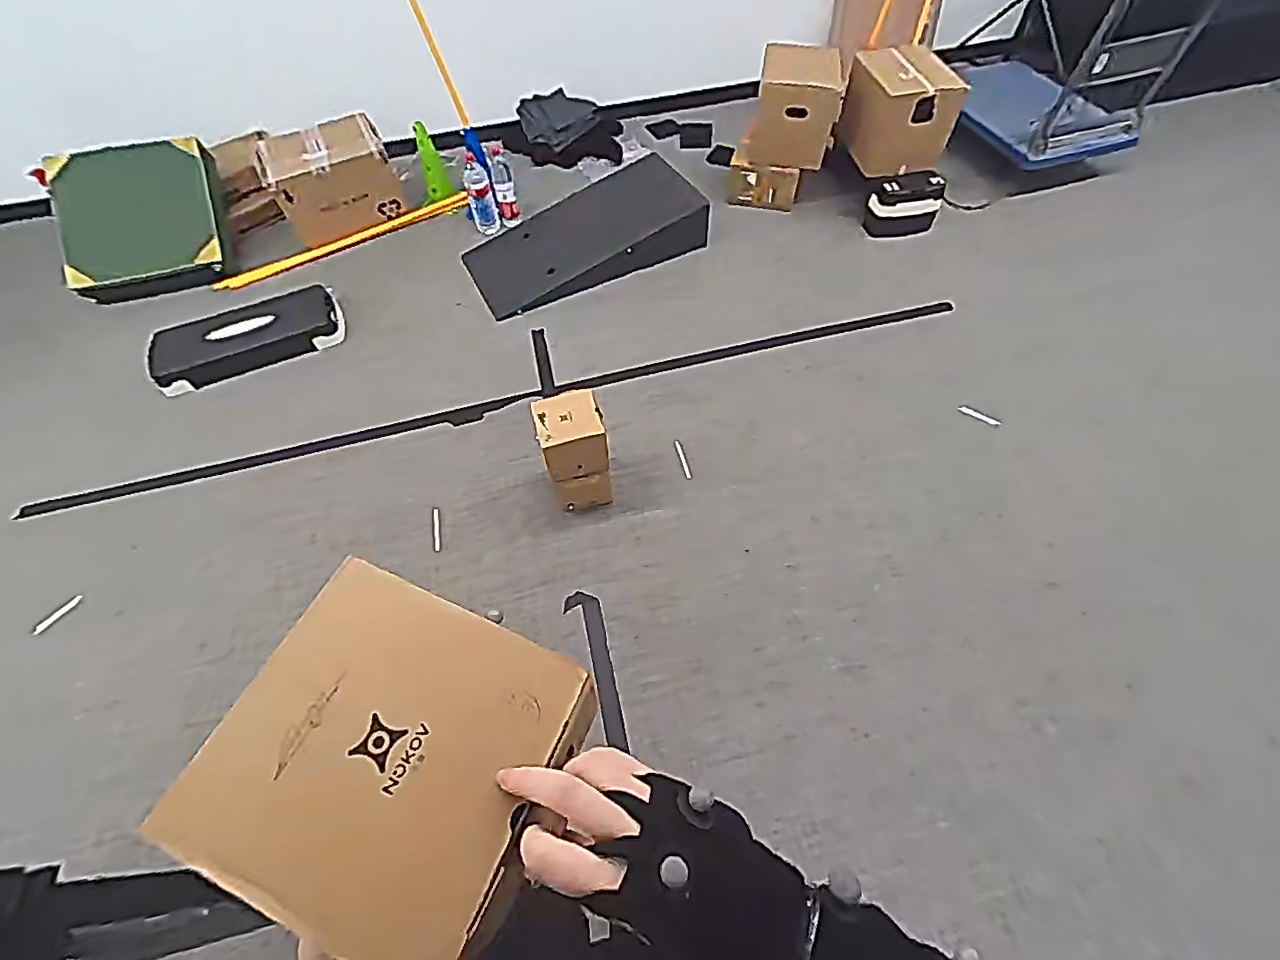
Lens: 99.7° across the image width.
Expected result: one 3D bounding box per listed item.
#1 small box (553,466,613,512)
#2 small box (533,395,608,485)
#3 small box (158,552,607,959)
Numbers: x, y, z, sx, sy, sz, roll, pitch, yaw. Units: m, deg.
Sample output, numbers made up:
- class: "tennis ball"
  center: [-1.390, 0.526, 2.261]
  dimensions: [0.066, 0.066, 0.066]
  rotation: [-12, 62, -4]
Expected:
- class: "small box"
  center: [-0.181, -0.018, 1.654]
  dimensions: [0.168, 0.176, 0.179]
  rotation: [-10, 56, -5]
- class: "small box"
  center: [-0.191, -0.109, 1.517]
  dimensions: [0.179, 0.176, 0.168]
  rotation: [-14, 57, -8]
- class: "small box"
  center: [-0.134, 0.179, 0.361]
  dimensions: [0.179, 0.176, 0.168]
  rotation: [23, 61, 10]
